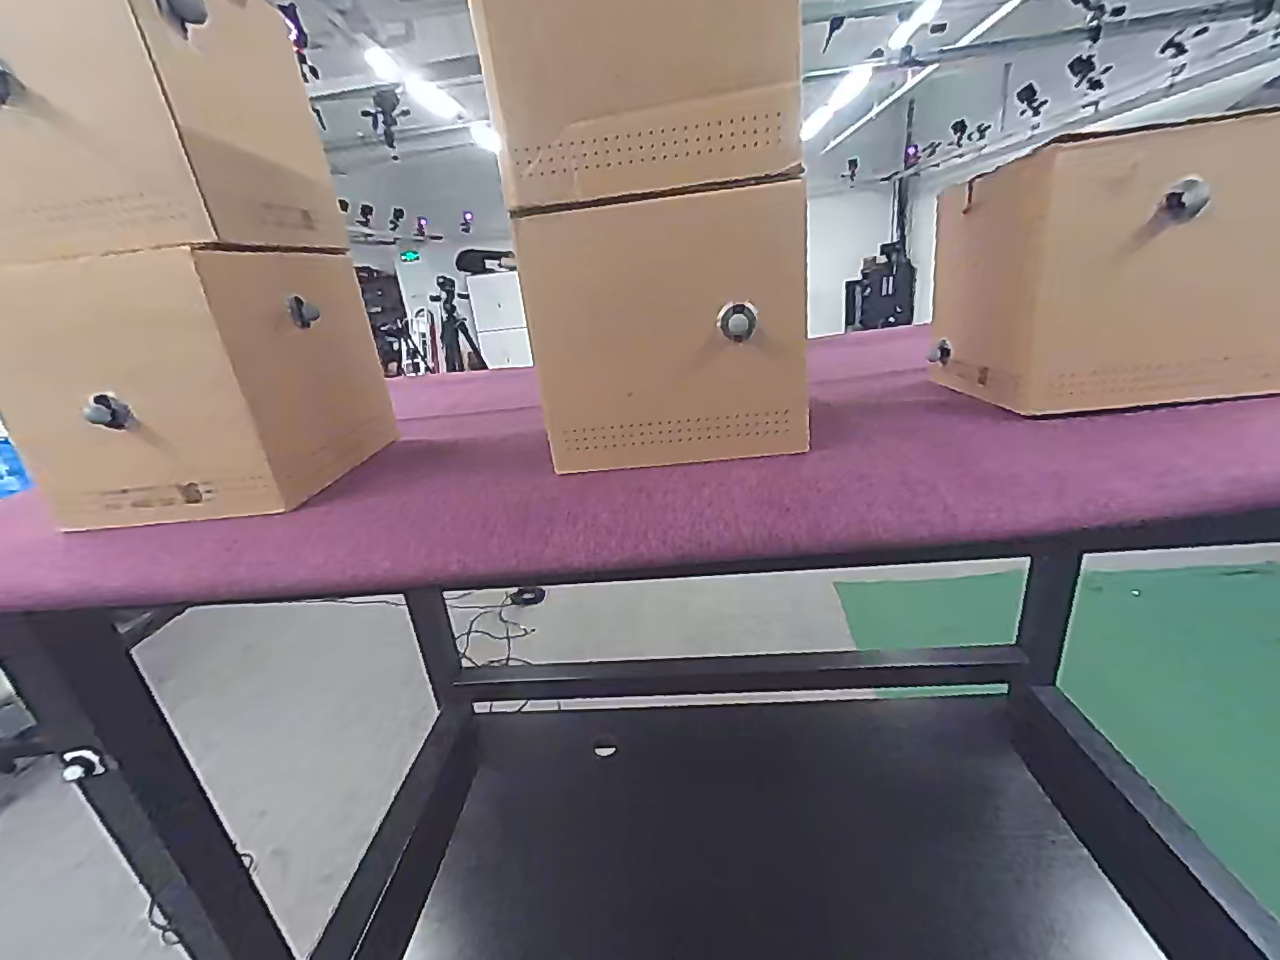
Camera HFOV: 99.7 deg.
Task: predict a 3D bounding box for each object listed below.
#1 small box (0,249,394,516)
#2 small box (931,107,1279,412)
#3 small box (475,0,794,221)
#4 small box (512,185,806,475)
[{"bbox_3d":[-0.319,-0.077,0.420,0.168,0.176,0.179,-4,21,3],"label":"small box"},{"bbox_3d":[0.343,-0.151,0.410,0.179,0.176,0.168,-4,18,7],"label":"small box"},{"bbox_3d":[-0.002,-0.265,0.365,0.179,0.176,0.168,-6,19,3],"label":"small box"},{"bbox_3d":[0.022,-0.112,0.418,0.179,0.176,0.168,-6,19,5],"label":"small box"}]
